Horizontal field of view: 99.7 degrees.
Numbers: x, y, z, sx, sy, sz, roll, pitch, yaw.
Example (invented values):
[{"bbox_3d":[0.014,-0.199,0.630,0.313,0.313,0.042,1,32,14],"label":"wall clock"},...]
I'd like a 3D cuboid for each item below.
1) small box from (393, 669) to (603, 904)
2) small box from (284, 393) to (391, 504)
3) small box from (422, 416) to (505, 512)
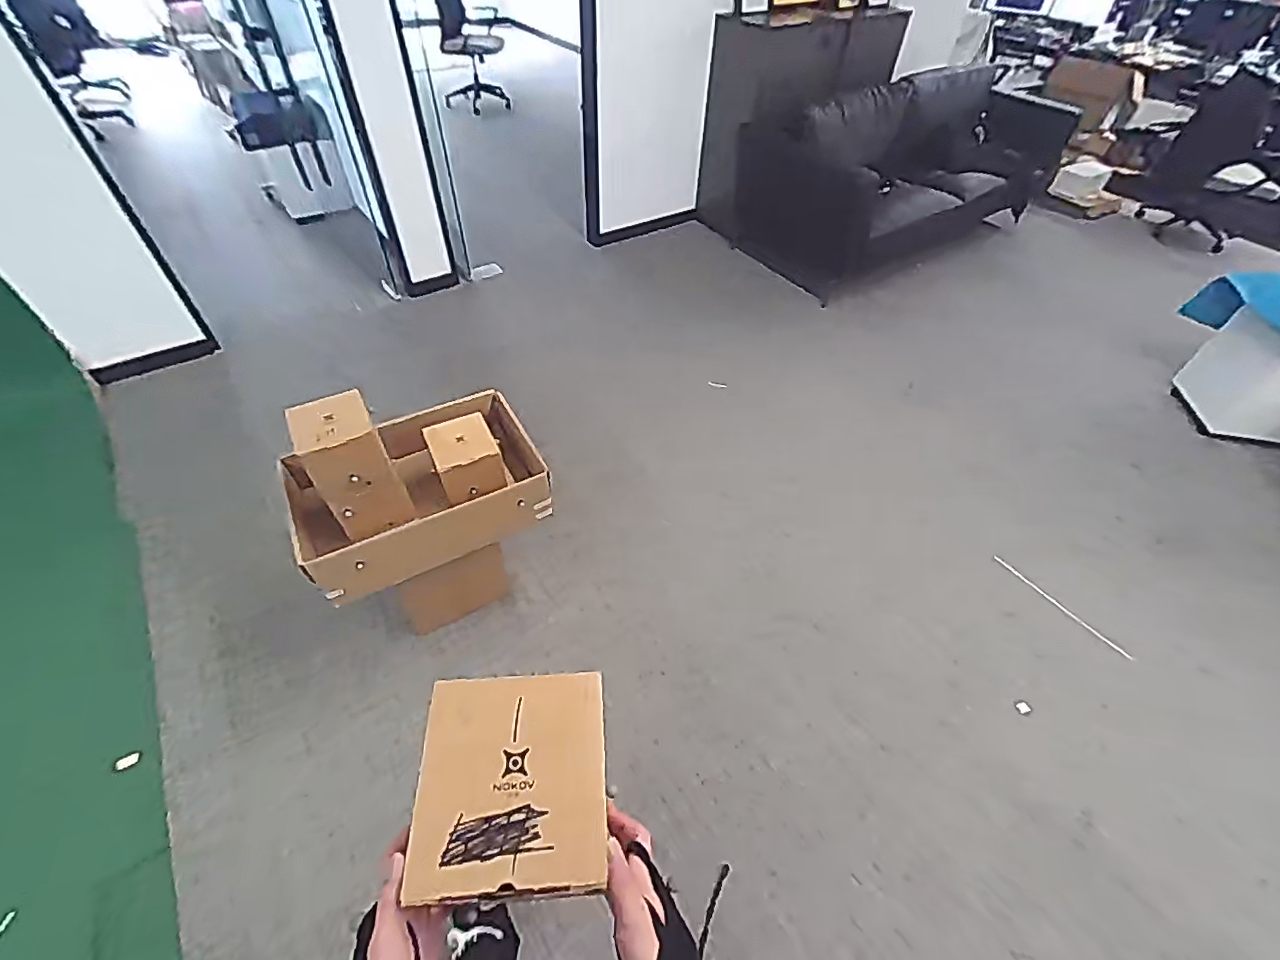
[{"bbox_3d":[-0.120,0.306,0.536,0.168,0.176,0.179,-1,50,-5],"label":"small box"},{"bbox_3d":[-0.721,-0.075,1.297,0.168,0.176,0.179,-23,53,-21],"label":"small box"},{"bbox_3d":[-0.488,-0.043,1.505,0.168,0.176,0.179,-21,54,-21],"label":"small box"}]
